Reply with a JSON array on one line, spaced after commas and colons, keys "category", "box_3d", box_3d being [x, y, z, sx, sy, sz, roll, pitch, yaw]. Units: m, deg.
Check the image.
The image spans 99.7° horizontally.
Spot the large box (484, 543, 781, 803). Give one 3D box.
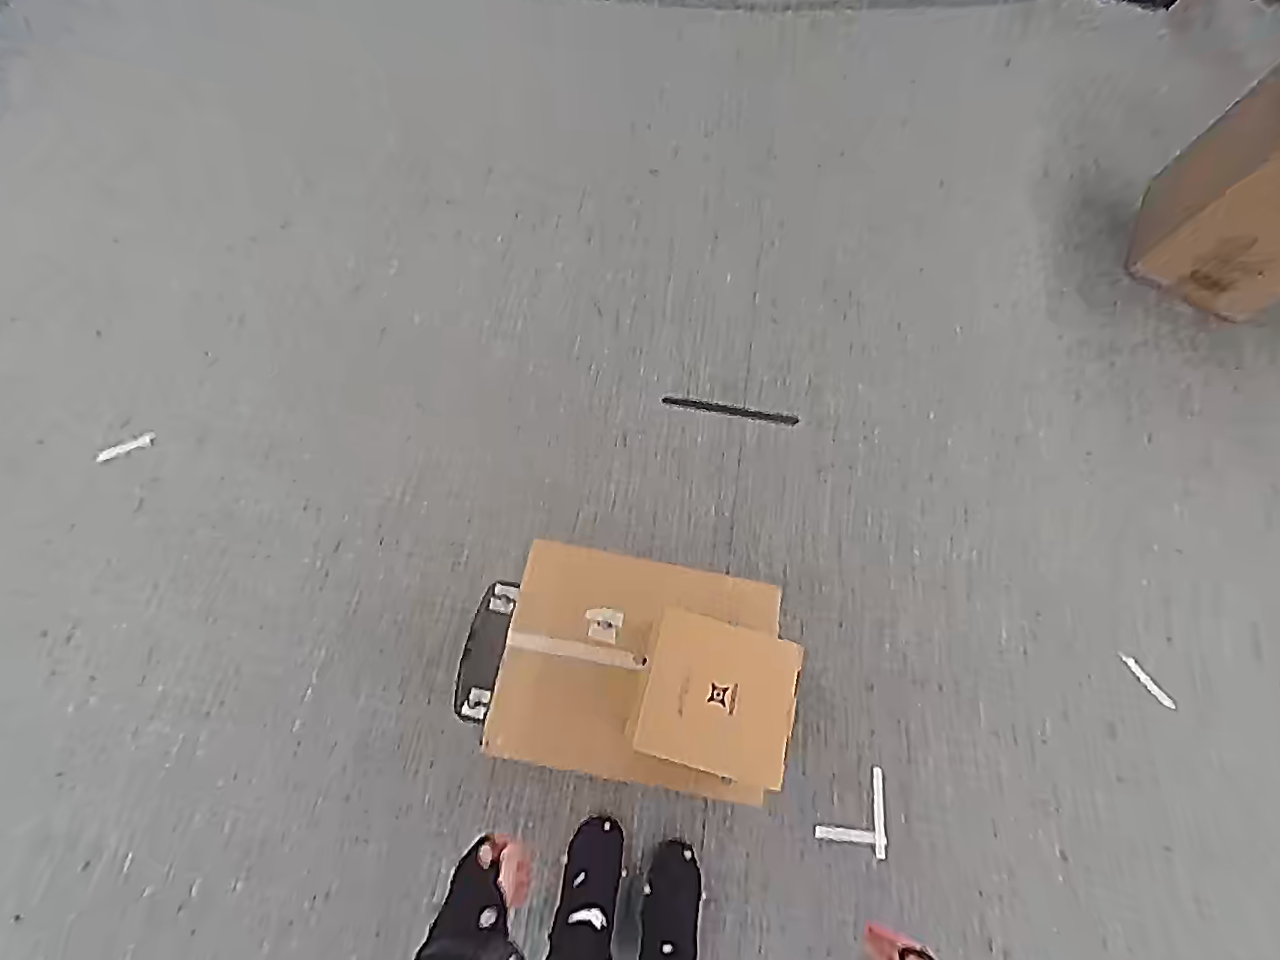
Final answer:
[{"category": "large box", "box_3d": [-0.003, 0.323, 0.933, 0.408, 0.320, 0.320, 11, 68, 0]}]

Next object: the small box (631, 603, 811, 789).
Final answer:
[{"category": "small box", "box_3d": [0.095, 0.270, 0.697, 0.179, 0.176, 0.168, 16, 69, 2]}]
